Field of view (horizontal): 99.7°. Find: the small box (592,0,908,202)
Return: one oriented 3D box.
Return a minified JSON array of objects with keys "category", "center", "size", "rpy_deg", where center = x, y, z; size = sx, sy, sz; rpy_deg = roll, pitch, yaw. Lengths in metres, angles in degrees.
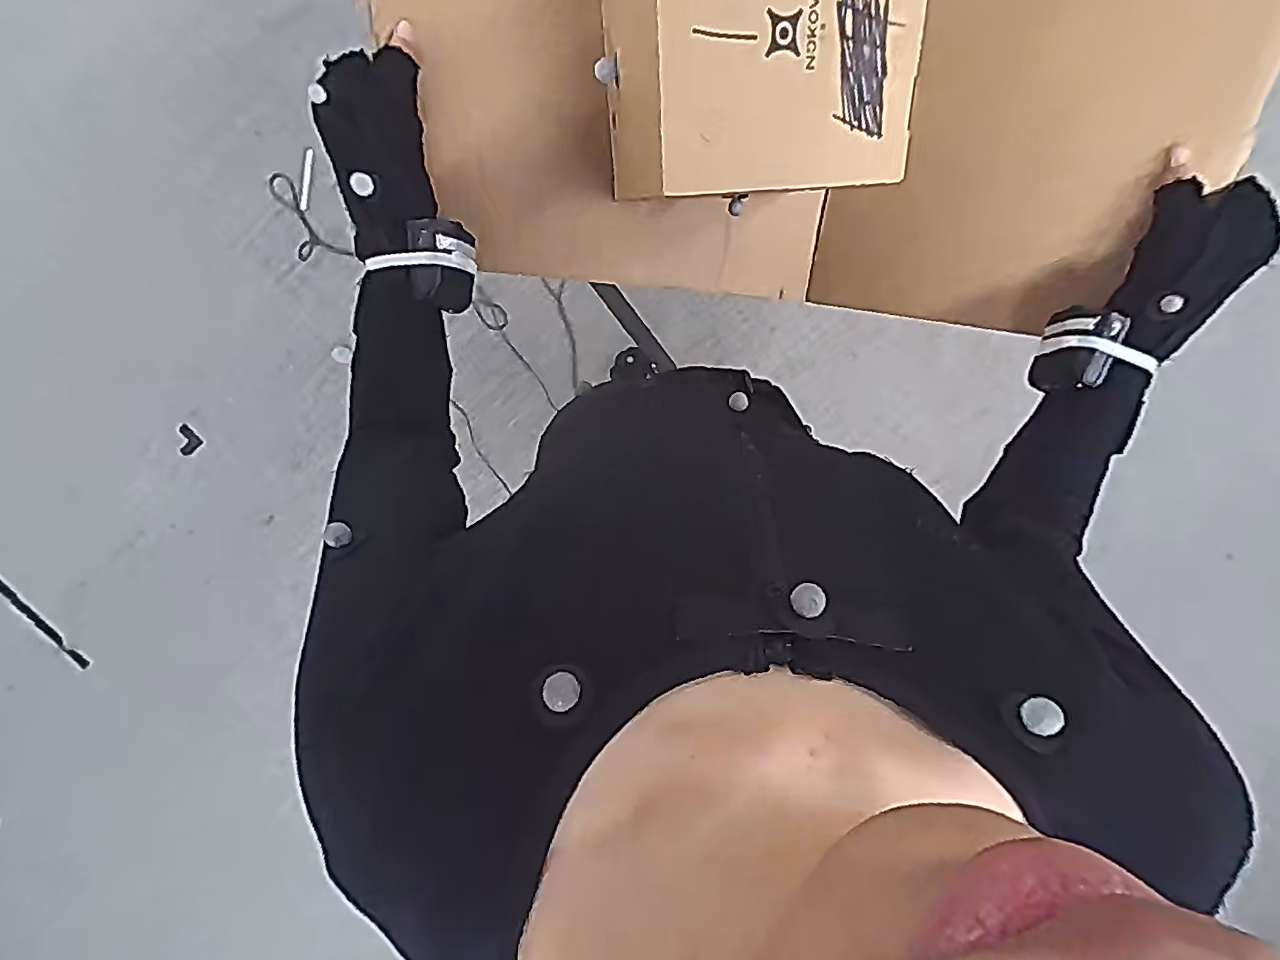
[{"category":"small box","center":[0.069,-0.306,0.405],"size":[0.179,0.176,0.168],"rpy_deg":[-10,117,-9]}]
